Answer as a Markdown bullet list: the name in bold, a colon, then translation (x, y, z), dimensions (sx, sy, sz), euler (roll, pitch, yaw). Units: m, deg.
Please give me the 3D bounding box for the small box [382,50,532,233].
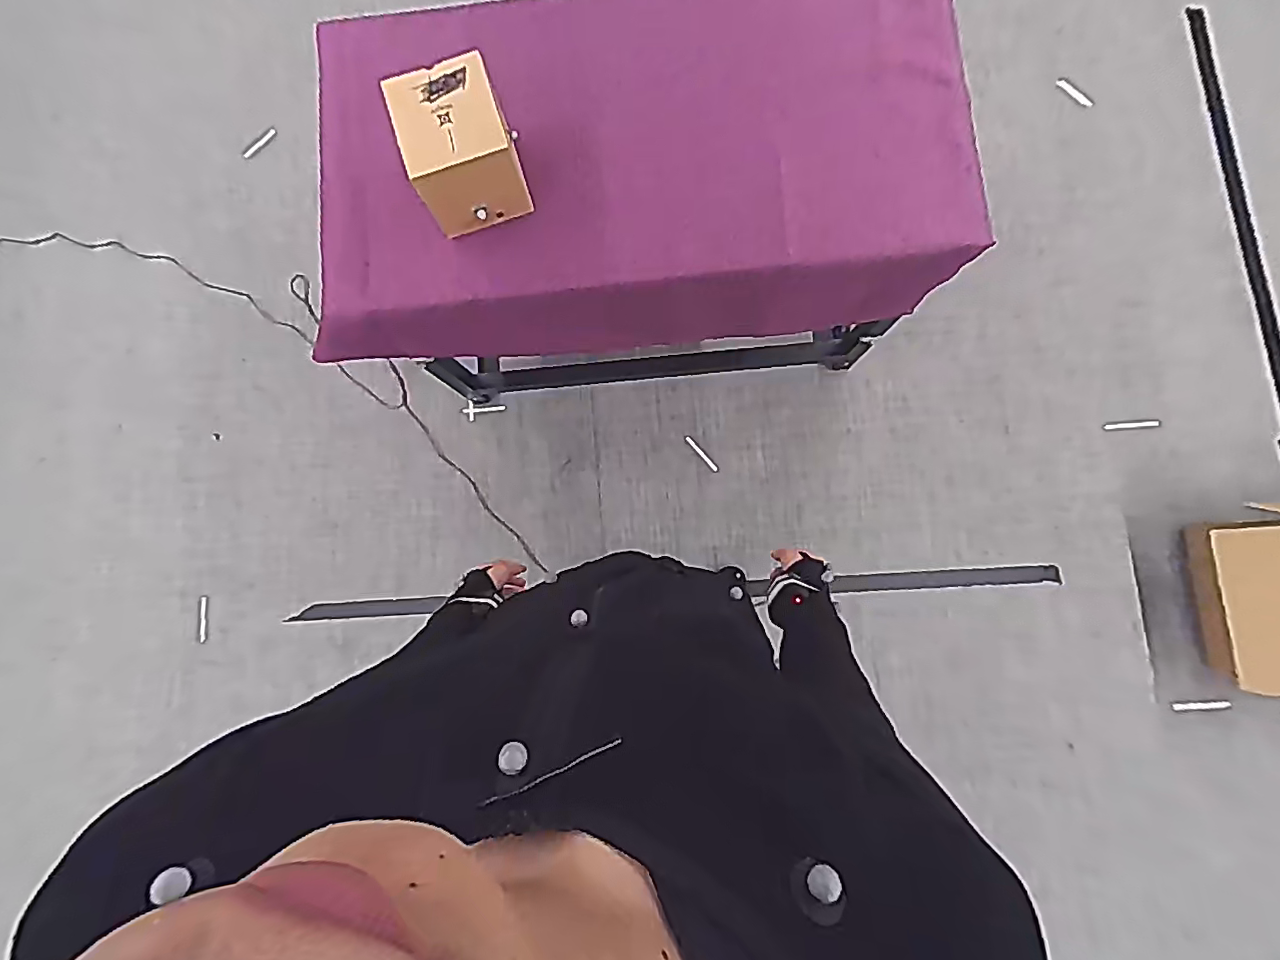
- **small box**: translation (-0.299, -0.559, 0.914), dimensions (0.168, 0.176, 0.179), euler (-18, 84, 1)
